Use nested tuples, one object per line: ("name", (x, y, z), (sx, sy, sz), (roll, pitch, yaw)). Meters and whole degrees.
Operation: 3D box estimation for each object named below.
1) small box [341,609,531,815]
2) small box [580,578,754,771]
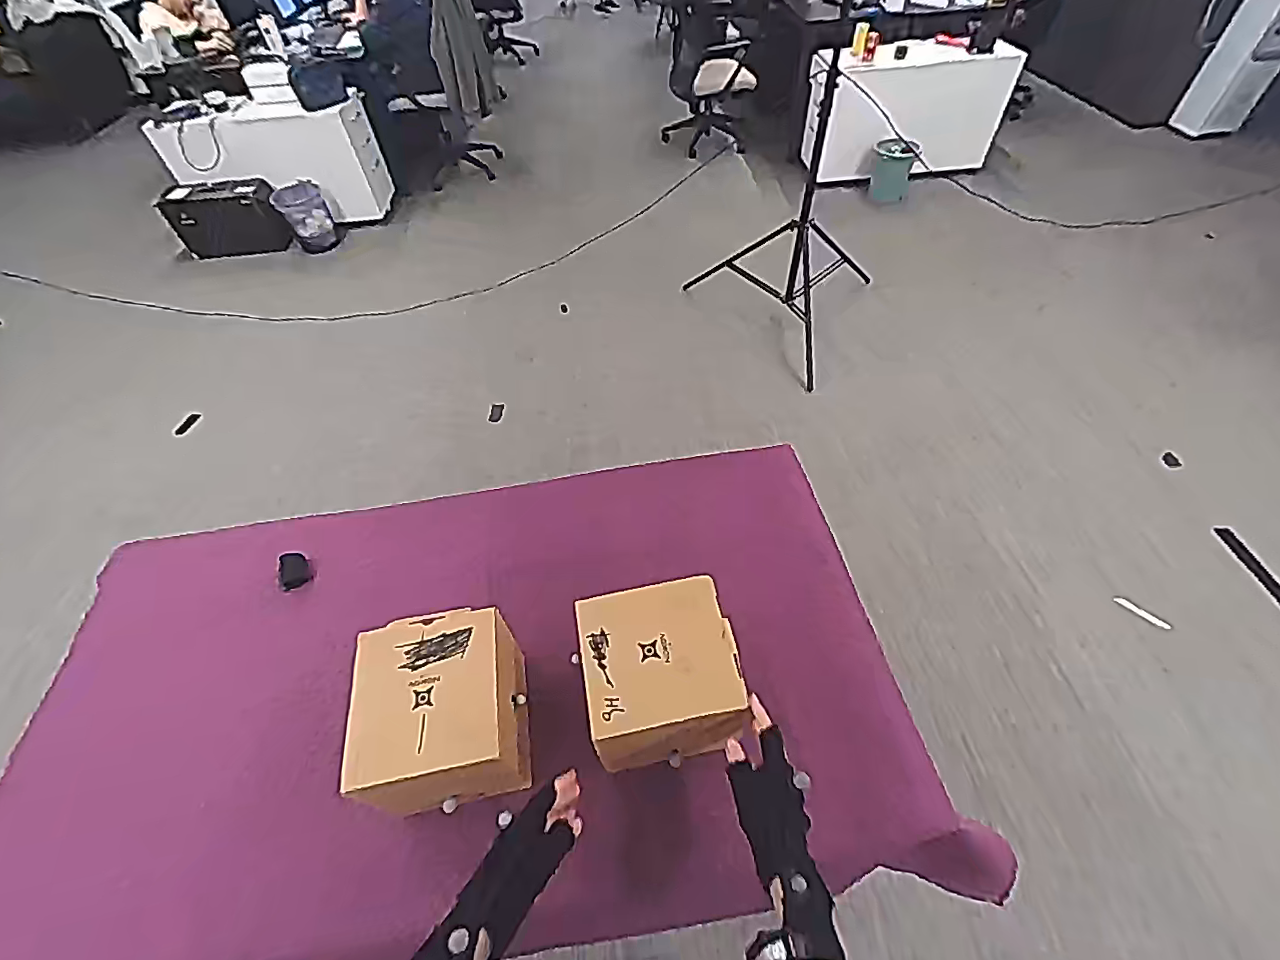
("small box", (-0.234, 0.286, 0.666), (0.168, 0.176, 0.179), (-10, 51, -5))
("small box", (0.026, 0.247, 0.682), (0.179, 0.176, 0.168), (-10, 50, -5))
